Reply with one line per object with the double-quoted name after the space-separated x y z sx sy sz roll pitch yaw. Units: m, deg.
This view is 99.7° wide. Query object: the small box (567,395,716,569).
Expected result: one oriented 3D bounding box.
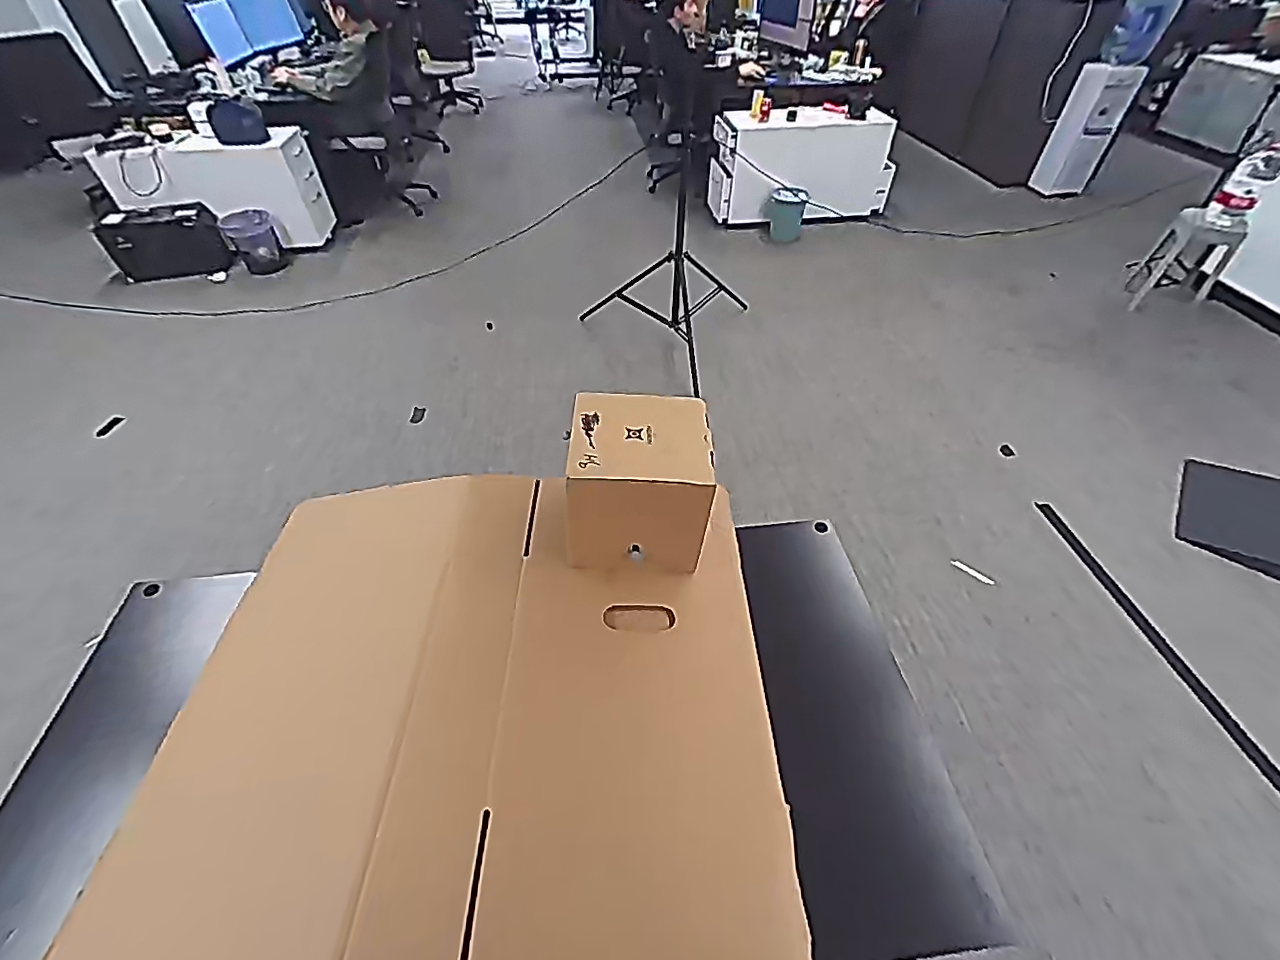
-0.005 0.006 0.733 0.179 0.176 0.168 3 44 -4 "small box"
